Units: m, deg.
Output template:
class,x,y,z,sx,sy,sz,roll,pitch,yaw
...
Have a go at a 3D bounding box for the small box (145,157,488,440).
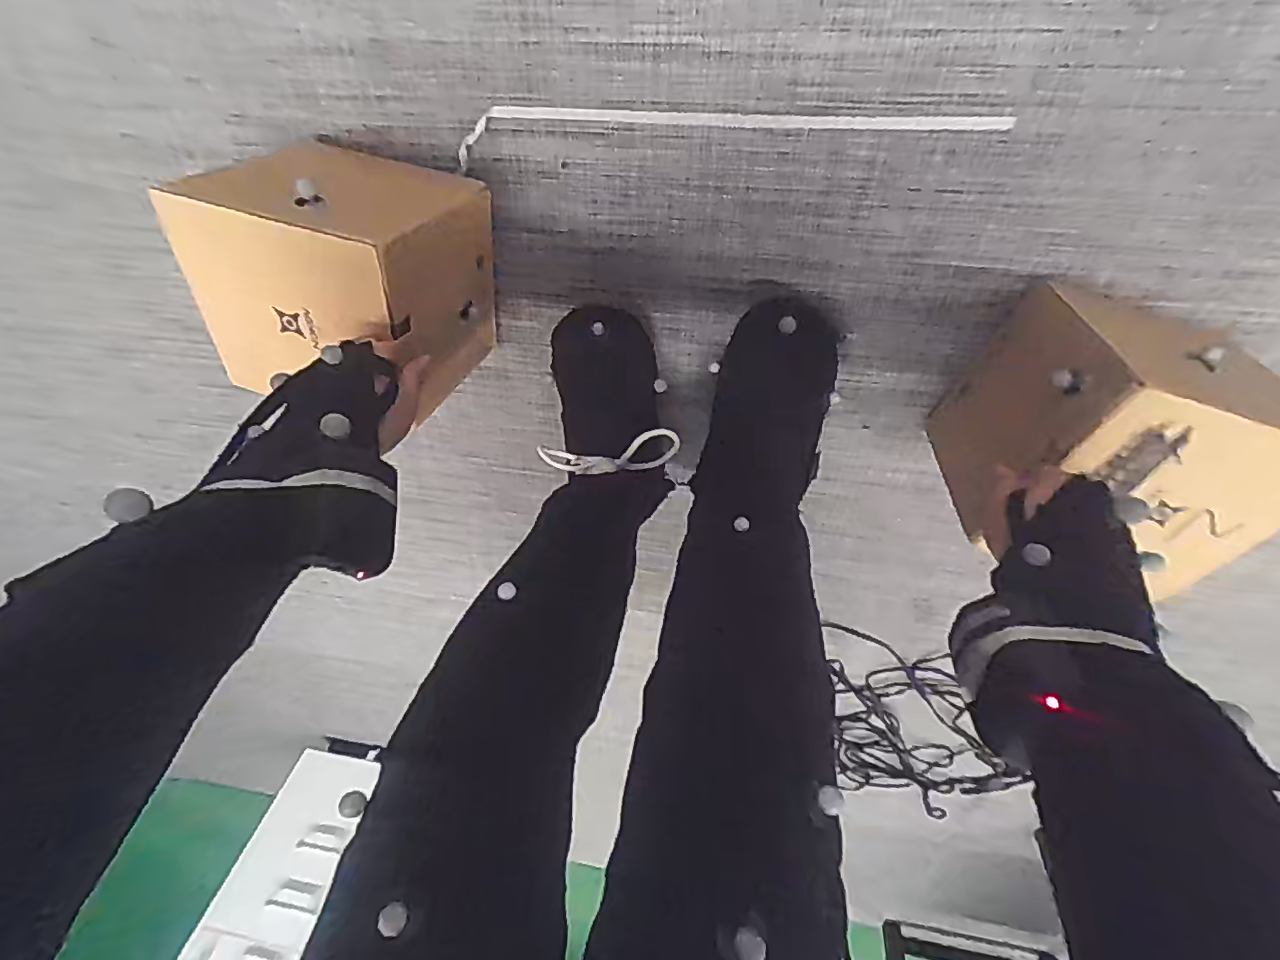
class,x,y,z,sx,sy,sz,roll,pitch,yaw
small box,-0.253,-0.166,0.477,0.179,0.176,0.168,15,133,3
